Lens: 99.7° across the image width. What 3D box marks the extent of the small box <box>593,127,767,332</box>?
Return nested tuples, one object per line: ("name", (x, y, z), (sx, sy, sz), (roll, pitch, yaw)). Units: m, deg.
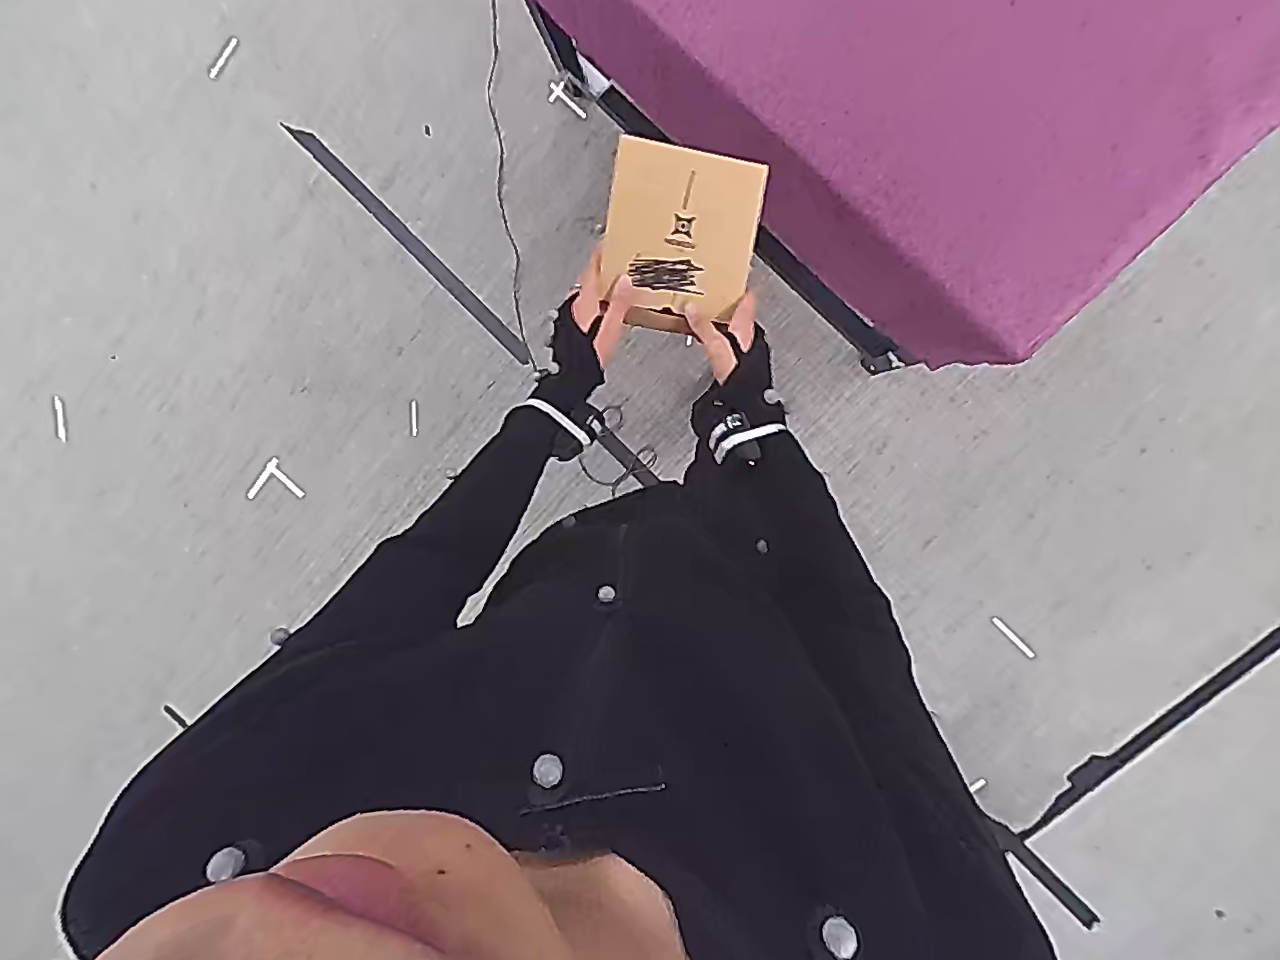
("small box", (0.037, -0.286, 0.662), (0.168, 0.176, 0.179), (8, 98, -6))
